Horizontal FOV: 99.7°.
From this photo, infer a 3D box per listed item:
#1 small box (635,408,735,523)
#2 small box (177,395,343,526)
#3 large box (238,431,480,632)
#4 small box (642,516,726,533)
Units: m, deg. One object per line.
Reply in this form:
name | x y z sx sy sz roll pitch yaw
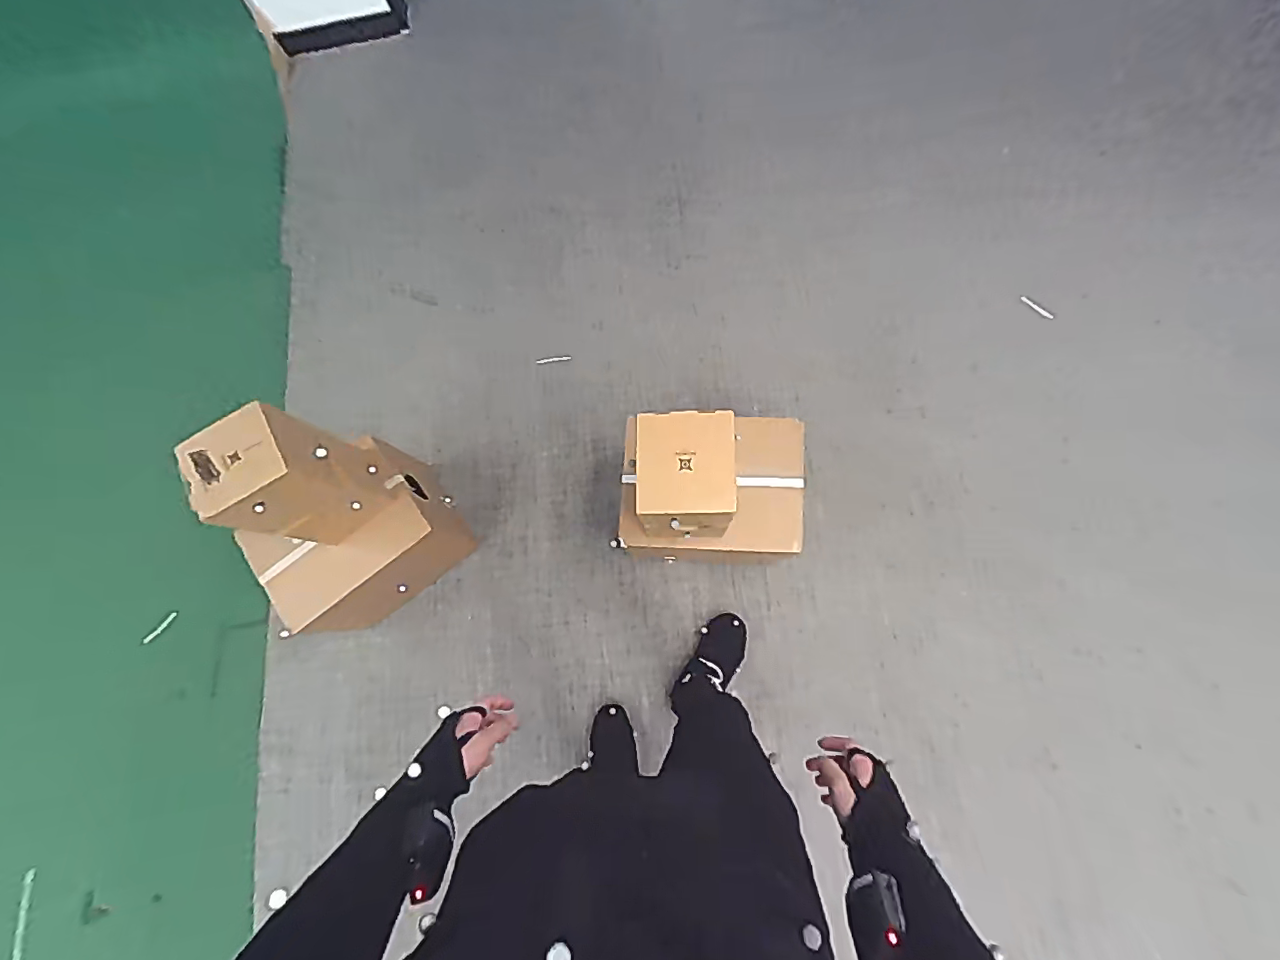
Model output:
small box | 0.083 -0.017 0.968 0.168 0.176 0.179 -1 77 6
small box | -0.724 -0.028 1.045 0.179 0.176 0.168 -31 76 -2
large box | -0.713 0.143 1.428 0.408 0.320 0.320 -38 76 -3
small box | 0.095 0.017 1.127 0.168 0.176 0.179 0 78 5
